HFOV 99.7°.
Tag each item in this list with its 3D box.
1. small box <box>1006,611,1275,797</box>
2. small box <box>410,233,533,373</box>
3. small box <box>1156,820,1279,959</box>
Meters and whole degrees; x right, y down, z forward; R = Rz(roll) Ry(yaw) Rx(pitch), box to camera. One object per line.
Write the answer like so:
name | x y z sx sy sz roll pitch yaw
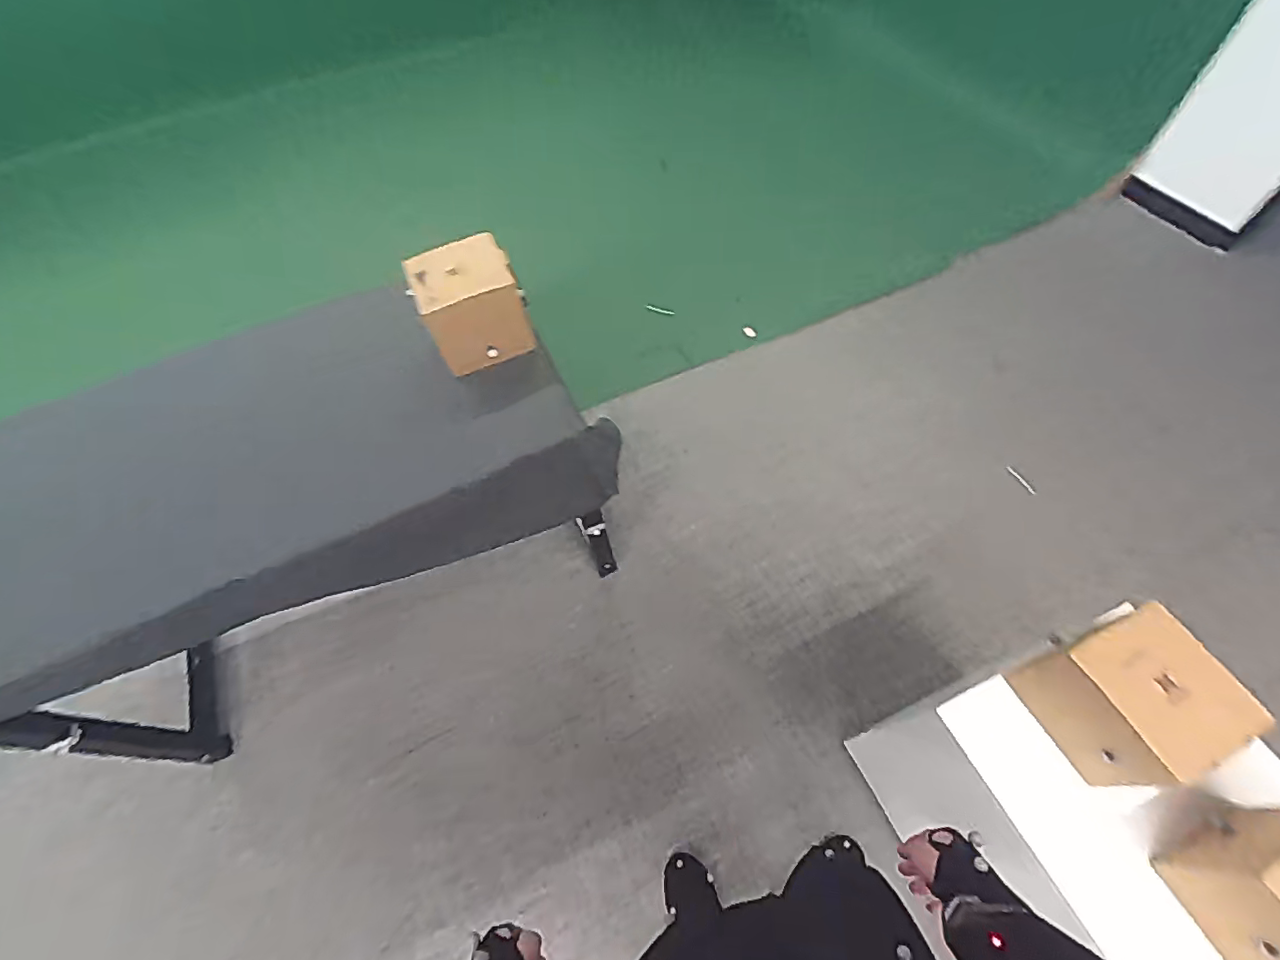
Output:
small box | 0.675 0.316 0.756 0.168 0.176 0.179 -23 60 -13
small box | -0.317 -0.339 1.049 0.179 0.176 0.168 -21 60 -10
small box | 0.784 0.519 0.624 0.168 0.176 0.179 -22 59 -11
